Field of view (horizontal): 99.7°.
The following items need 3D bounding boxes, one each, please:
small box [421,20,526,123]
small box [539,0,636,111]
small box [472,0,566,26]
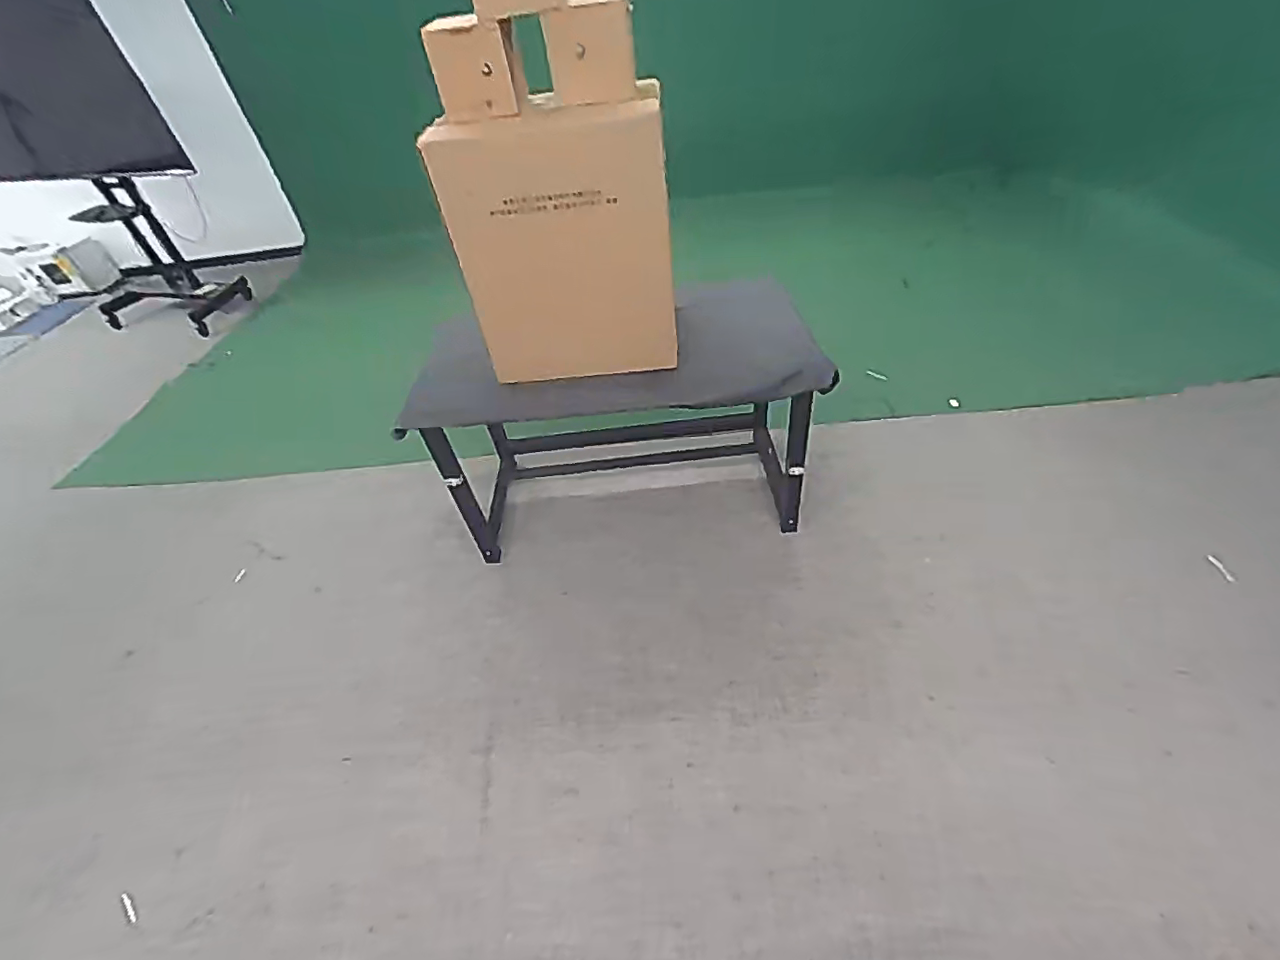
[{"bbox_3d":[-0.364,-0.922,1.221,0.168,0.176,0.179,-3,44,3],"label":"small box"},{"bbox_3d":[-0.109,-0.942,1.203,0.179,0.176,0.168,-4,46,6],"label":"small box"},{"bbox_3d":[-0.254,-1.047,1.096,0.179,0.176,0.168,-6,45,5],"label":"small box"}]
